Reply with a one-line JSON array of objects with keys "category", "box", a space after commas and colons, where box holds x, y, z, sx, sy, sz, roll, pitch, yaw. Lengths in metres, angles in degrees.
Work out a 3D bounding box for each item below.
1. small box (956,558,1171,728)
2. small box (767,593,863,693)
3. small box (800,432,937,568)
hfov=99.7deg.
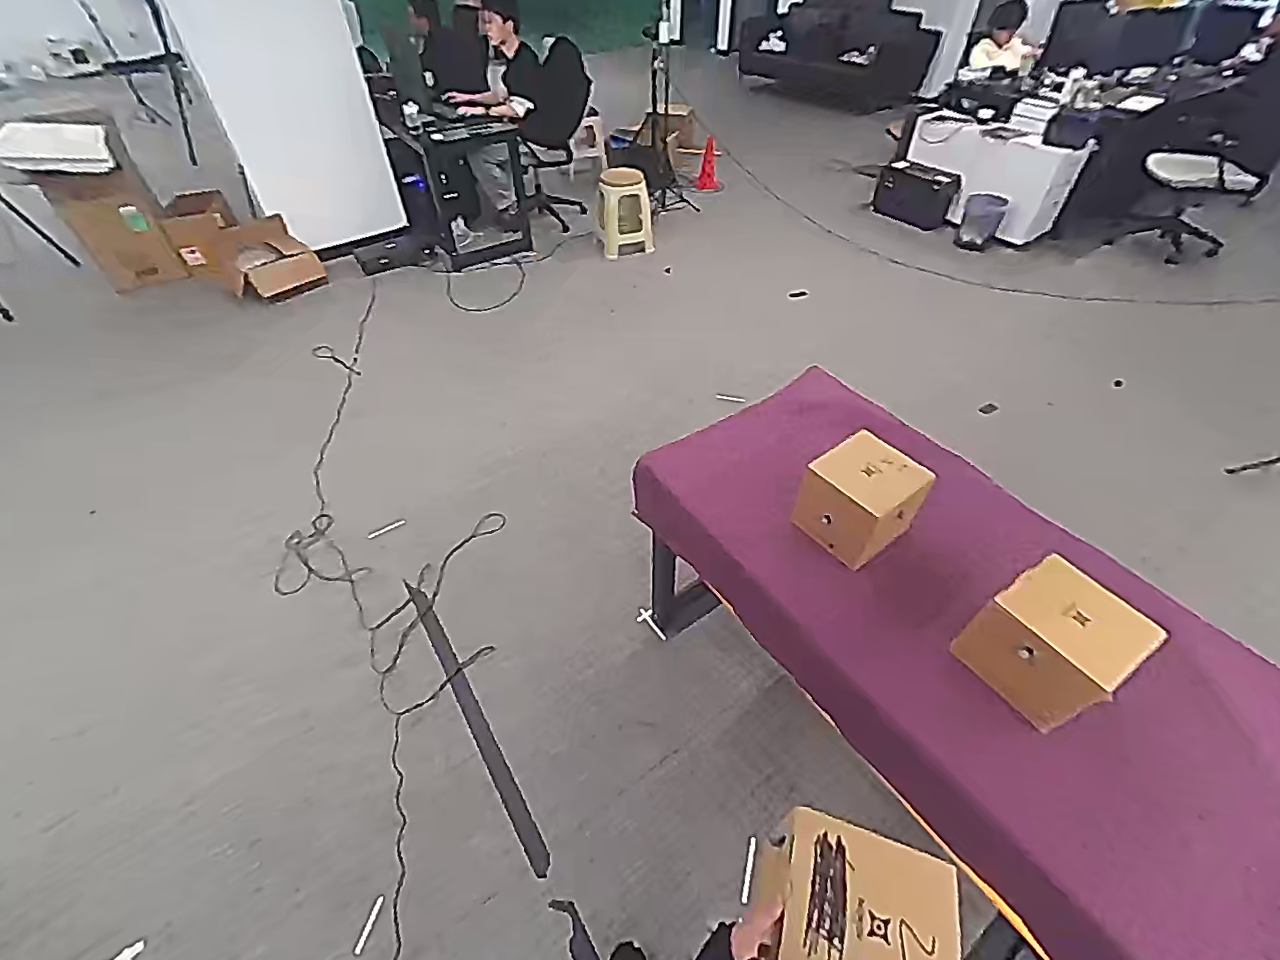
[{"category": "small box", "box": [0.655, 0.264, 0.859, 0.168, 0.176, 0.179, -25, 51, -21]}, {"category": "small box", "box": [0.483, 0.460, 1.519, 0.168, 0.176, 0.179, -30, 55, -24]}, {"category": "small box", "box": [0.437, 0.042, 1.067, 0.179, 0.176, 0.168, -28, 53, -24]}]
